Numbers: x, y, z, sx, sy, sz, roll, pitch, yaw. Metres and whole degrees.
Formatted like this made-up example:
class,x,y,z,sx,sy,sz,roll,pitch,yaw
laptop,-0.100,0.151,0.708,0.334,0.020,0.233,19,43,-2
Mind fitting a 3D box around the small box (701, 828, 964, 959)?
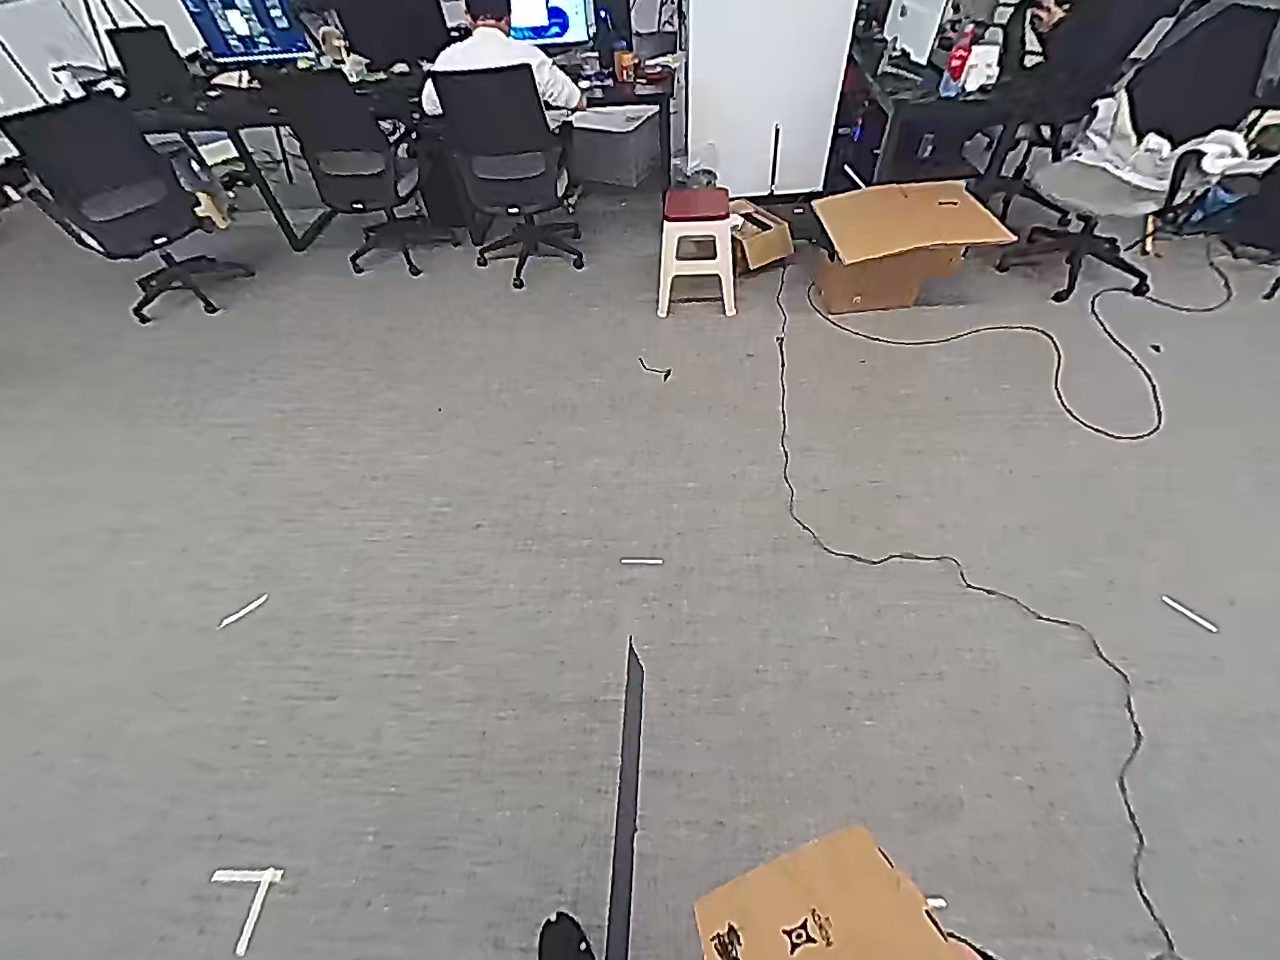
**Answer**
class,x,y,z,sx,sy,sz,roll,pitch,yaw
small box,0.170,0.440,0.436,0.179,0.168,0.176,-22,90,-3
